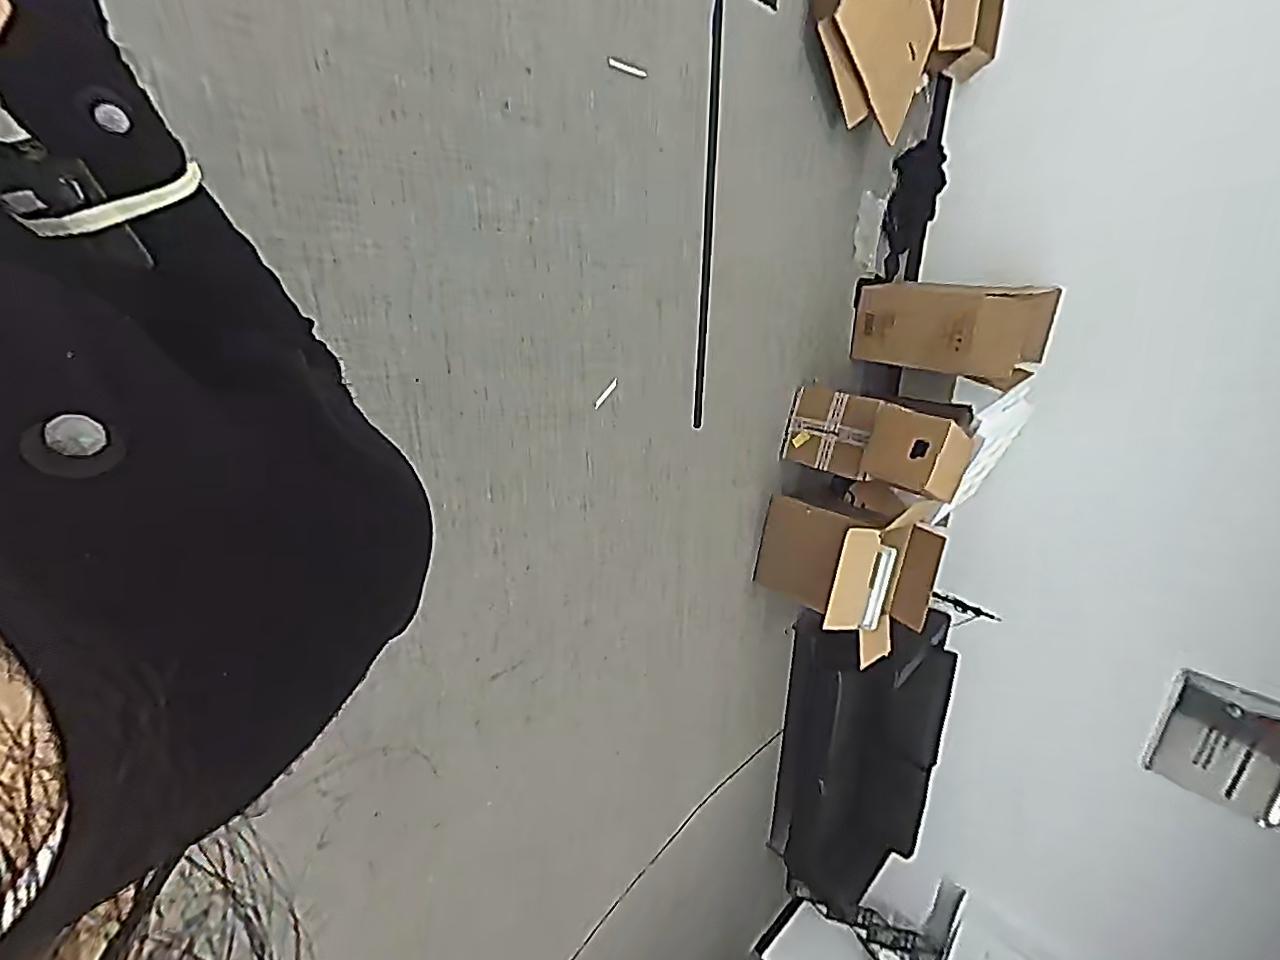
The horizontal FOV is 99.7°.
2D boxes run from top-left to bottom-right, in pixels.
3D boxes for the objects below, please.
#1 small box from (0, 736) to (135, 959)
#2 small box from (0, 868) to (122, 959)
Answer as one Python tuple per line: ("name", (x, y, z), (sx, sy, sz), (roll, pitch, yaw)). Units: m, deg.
("small box", (-0.586, 0.375, 0.484), (0.179, 0.176, 0.168), (-13, 113, -42))
("small box", (-0.475, 0.418, 0.370), (0.168, 0.176, 0.179), (-13, 114, -42))
